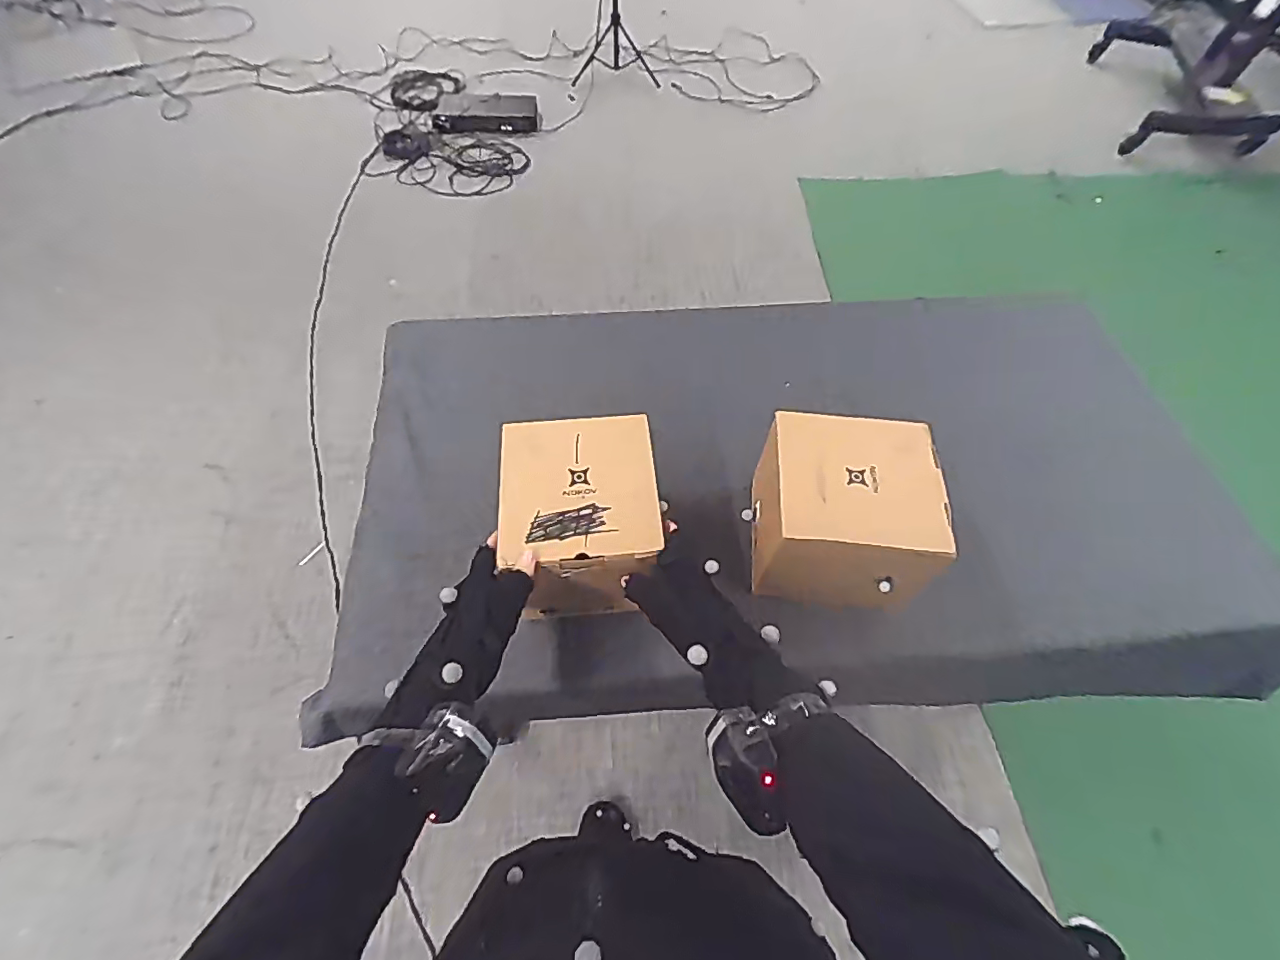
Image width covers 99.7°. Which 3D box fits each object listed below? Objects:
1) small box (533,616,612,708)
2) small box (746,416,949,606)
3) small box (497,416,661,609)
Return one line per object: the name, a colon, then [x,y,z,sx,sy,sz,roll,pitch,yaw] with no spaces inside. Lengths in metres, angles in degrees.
small box: [-0.152,0.430,1.263,0.168,0.176,0.179,-3,60,-3]
small box: [0.232,0.045,0.655,0.179,0.176,0.168,5,59,2]
small box: [-0.065,0.047,0.642,0.168,0.176,0.179,-3,58,-4]
